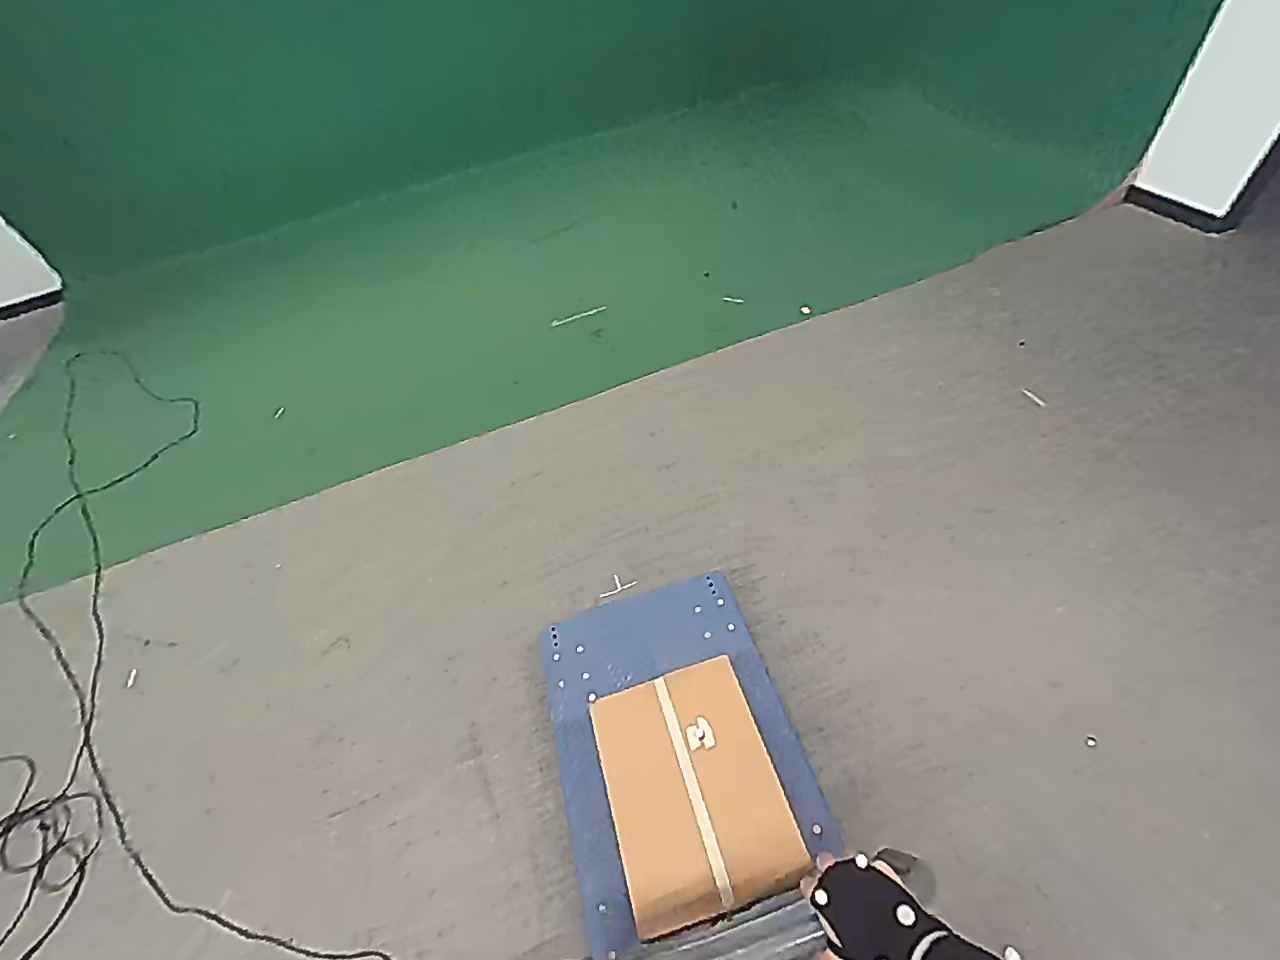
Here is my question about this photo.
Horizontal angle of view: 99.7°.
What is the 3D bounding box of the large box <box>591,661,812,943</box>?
[{"bbox_3d":[0.120,0.670,1.139,0.320,0.320,0.408,-18,48,-4],"label":"large box"}]
